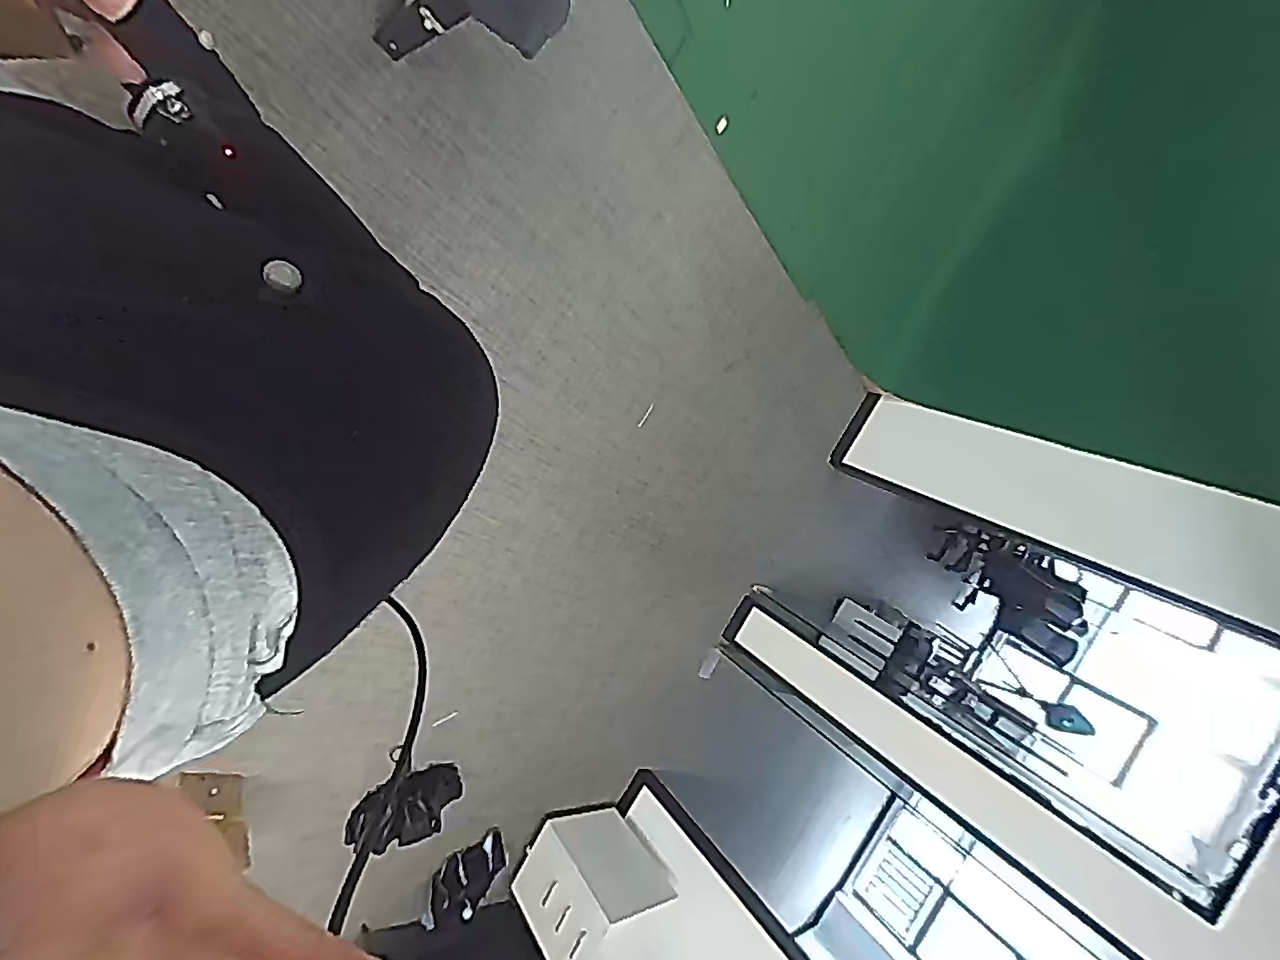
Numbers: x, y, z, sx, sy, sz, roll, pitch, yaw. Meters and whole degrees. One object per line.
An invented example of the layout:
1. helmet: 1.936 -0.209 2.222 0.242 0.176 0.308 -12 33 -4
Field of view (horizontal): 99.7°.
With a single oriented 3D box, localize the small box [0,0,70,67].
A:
1. small box: -0.511 -0.382 0.322 0.168 0.176 0.179 -21 117 -26
